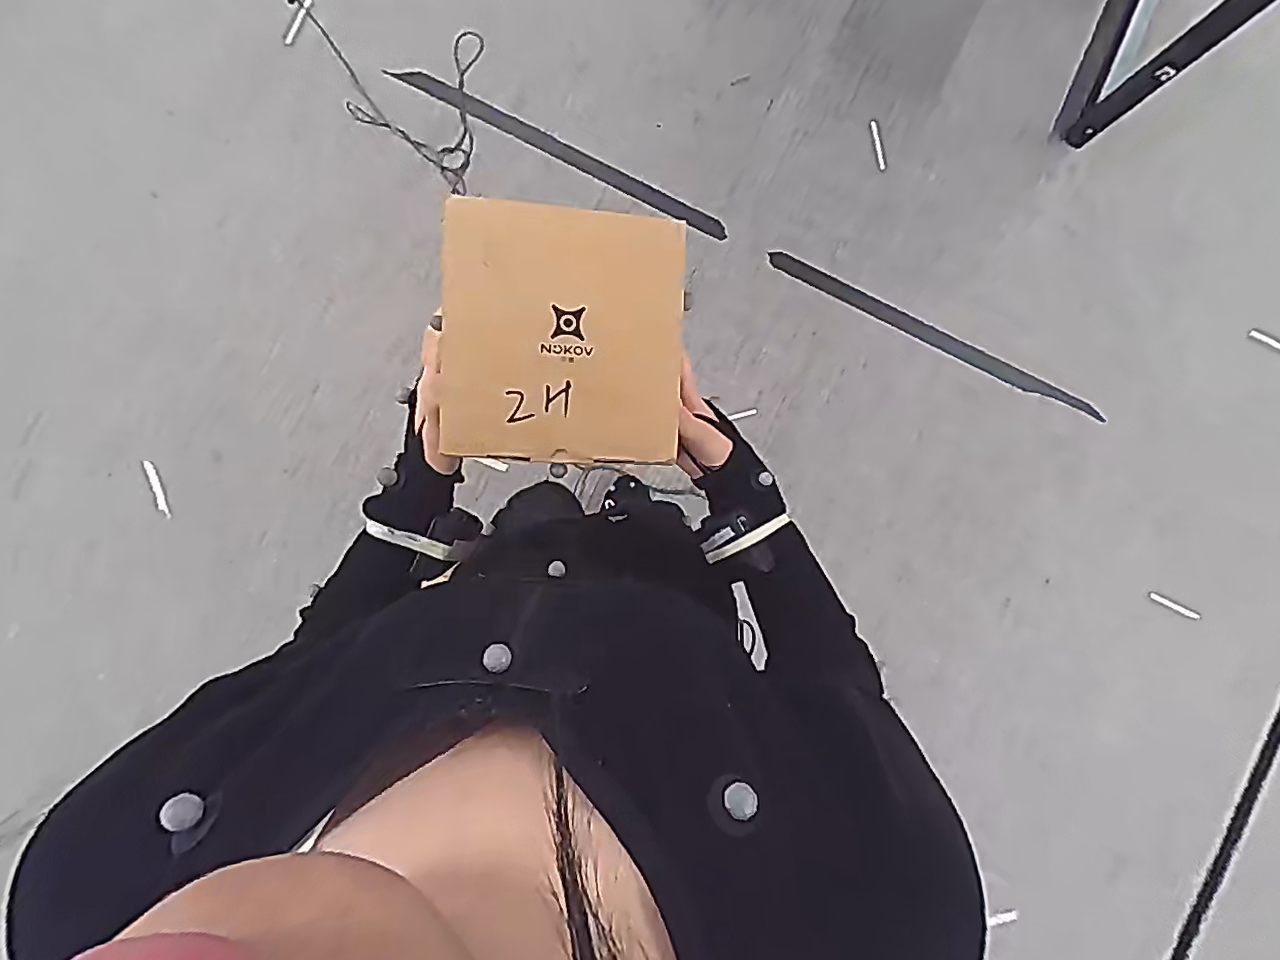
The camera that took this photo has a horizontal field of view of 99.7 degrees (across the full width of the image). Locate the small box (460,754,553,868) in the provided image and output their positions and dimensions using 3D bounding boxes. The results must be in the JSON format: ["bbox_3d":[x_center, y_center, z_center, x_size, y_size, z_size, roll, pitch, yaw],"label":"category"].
[{"bbox_3d":[-0.331,0.836,1.383,0.179,0.176,0.168,19,89,-3],"label":"small box"}]

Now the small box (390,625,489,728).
[{"bbox_3d":[-0.501,0.492,1.381,0.168,0.176,0.179,20,90,-2],"label":"small box"}]

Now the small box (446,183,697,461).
[{"bbox_3d":[-0.057,-0.107,0.446,0.168,0.176,0.179,2,93,-9],"label":"small box"}]
